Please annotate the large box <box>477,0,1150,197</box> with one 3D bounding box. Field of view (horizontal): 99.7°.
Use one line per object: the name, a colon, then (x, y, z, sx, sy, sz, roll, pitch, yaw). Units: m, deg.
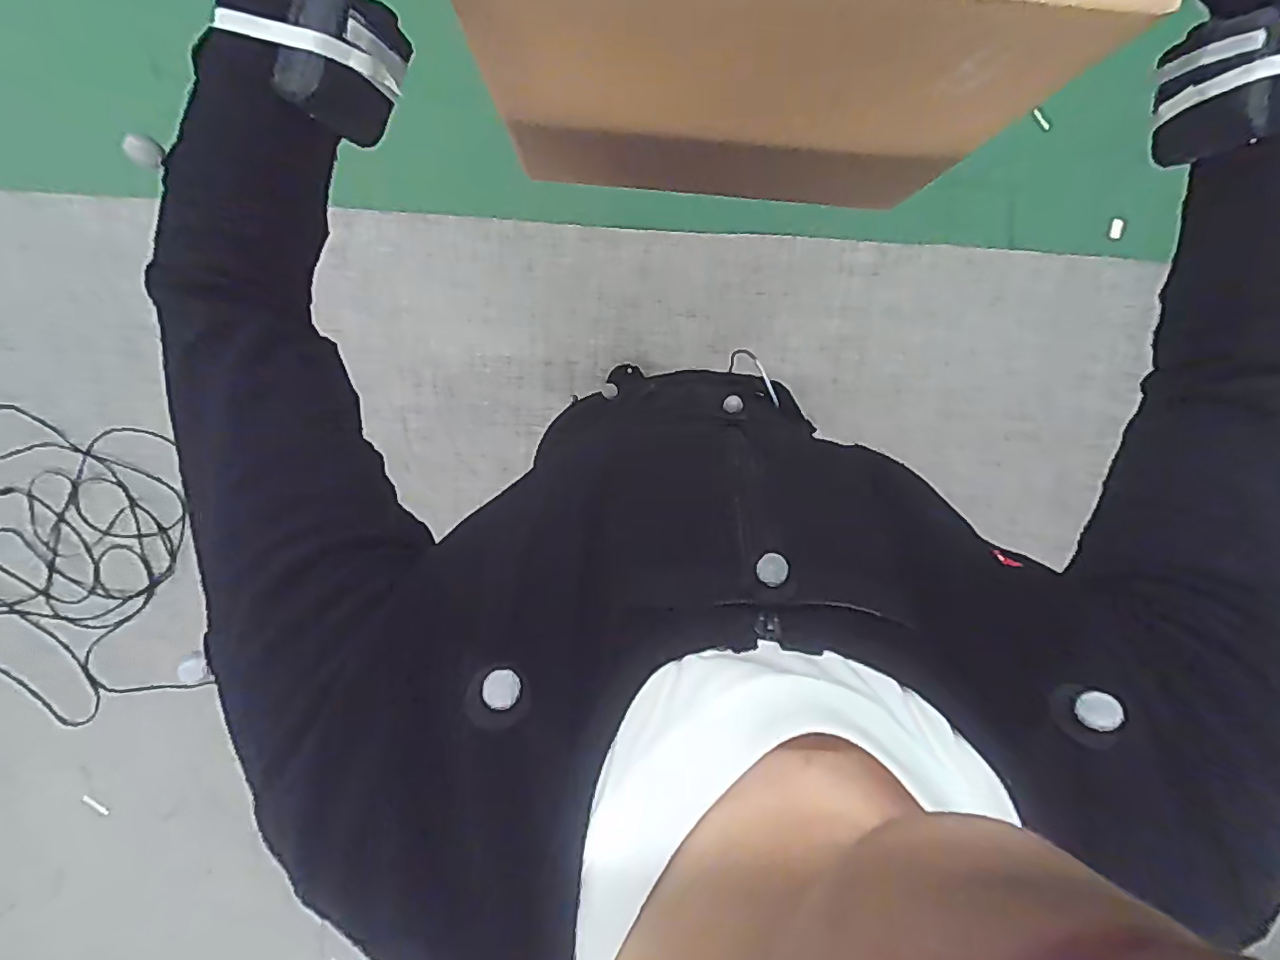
large box: (0.095, -0.447, 0.424, 0.408, 0.320, 0.320, 3, 99, -3)
